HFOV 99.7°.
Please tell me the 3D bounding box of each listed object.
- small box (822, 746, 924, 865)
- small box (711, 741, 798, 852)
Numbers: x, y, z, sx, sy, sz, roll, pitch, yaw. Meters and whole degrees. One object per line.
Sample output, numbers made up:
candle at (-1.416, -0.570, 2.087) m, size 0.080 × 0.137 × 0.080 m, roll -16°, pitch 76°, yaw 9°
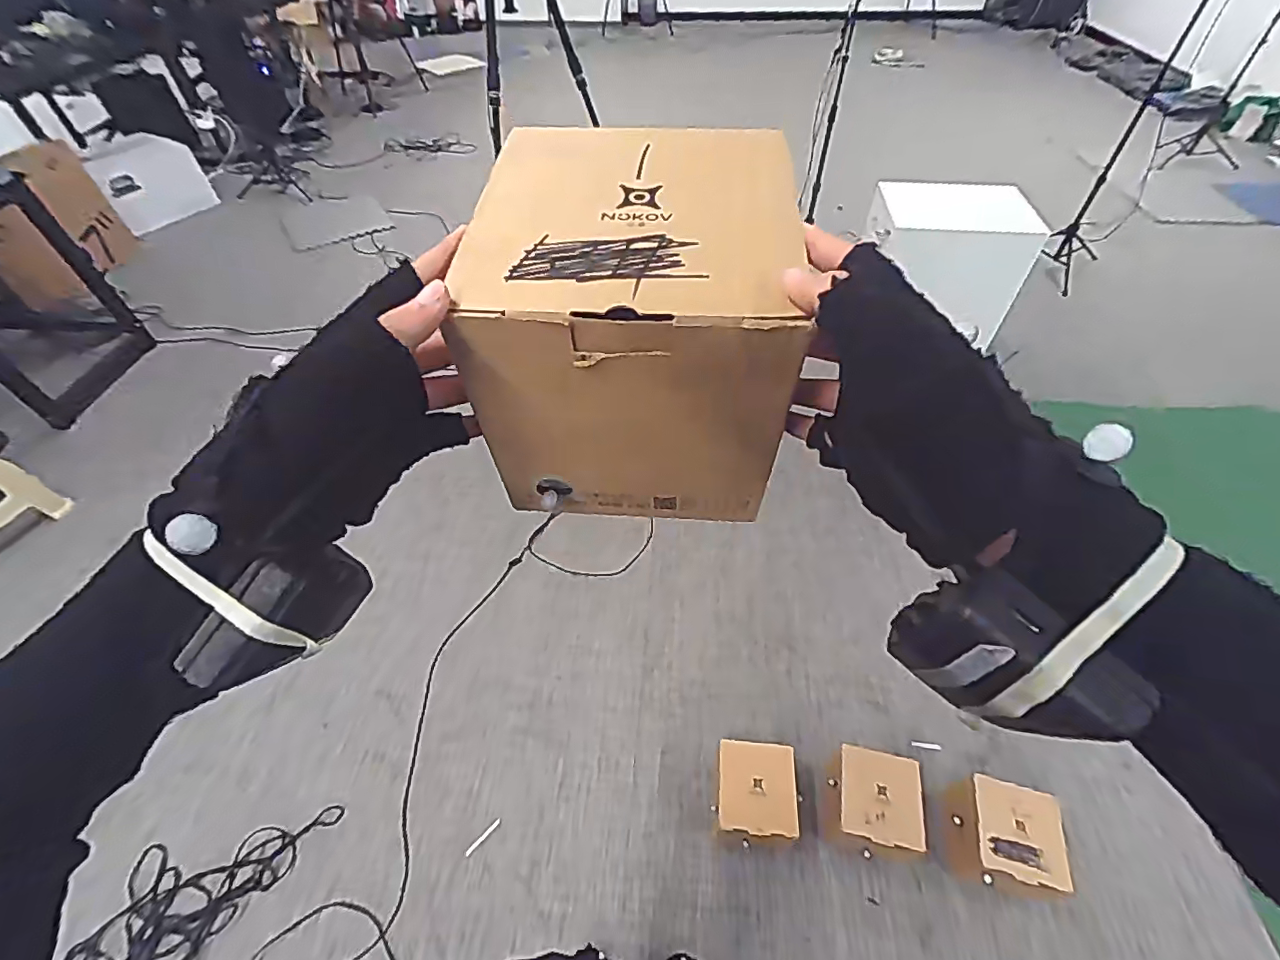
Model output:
small box at (0.506, 0.721, 1.196) m, size 0.168 × 0.176 × 0.179 m, roll 10°, pitch 51°, yaw 10°
small box at (0.250, 0.711, 1.212) m, size 0.168 × 0.176 × 0.179 m, roll 4°, pitch 50°, yaw 5°
